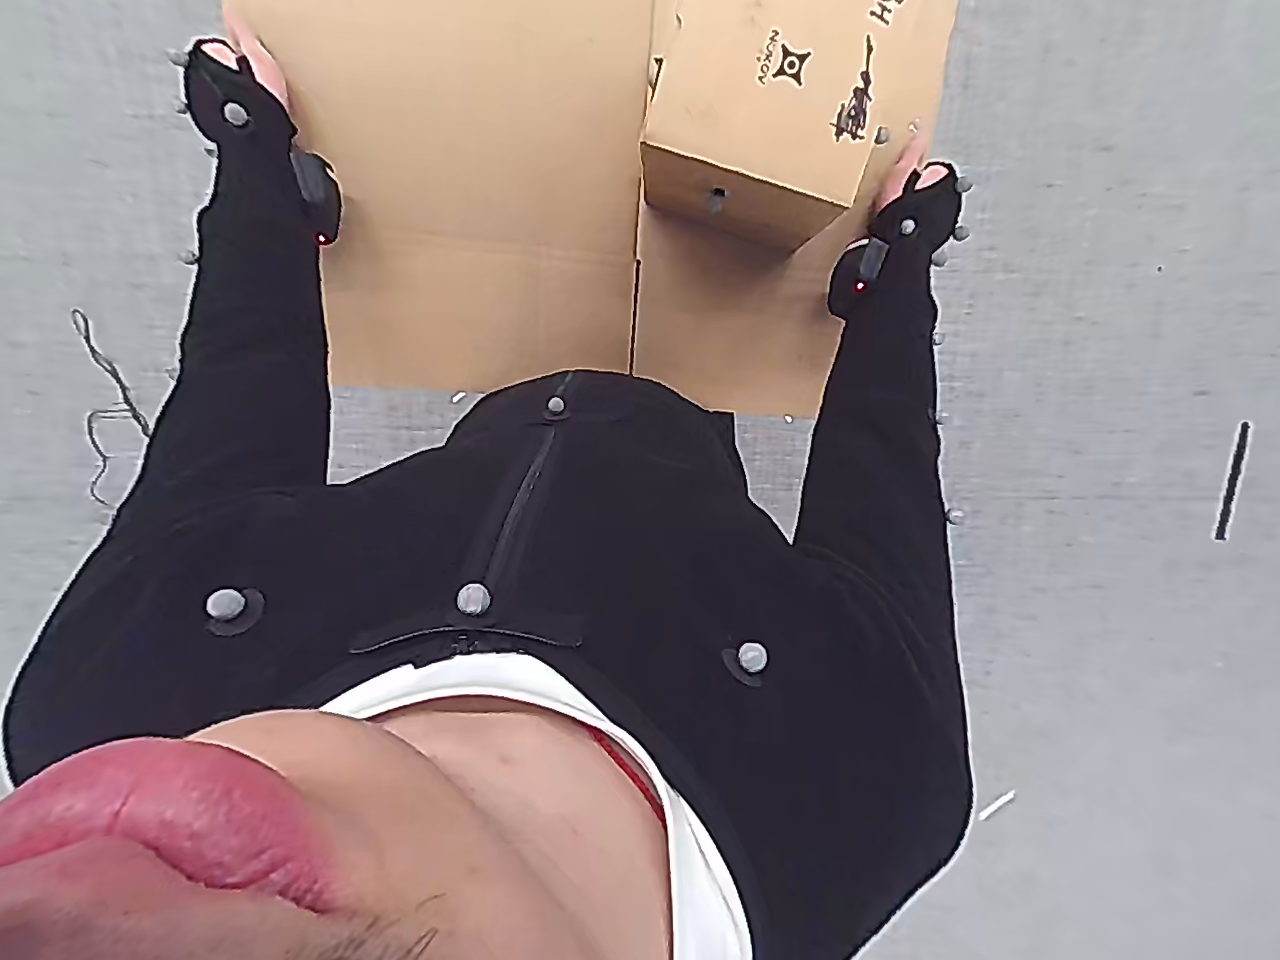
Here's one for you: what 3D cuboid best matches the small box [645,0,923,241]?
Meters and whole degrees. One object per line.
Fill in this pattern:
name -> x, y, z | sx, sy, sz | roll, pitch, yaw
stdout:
small box -> 0.113, -0.336, 0.491 | 0.179, 0.176, 0.168 | 17, 103, -1
